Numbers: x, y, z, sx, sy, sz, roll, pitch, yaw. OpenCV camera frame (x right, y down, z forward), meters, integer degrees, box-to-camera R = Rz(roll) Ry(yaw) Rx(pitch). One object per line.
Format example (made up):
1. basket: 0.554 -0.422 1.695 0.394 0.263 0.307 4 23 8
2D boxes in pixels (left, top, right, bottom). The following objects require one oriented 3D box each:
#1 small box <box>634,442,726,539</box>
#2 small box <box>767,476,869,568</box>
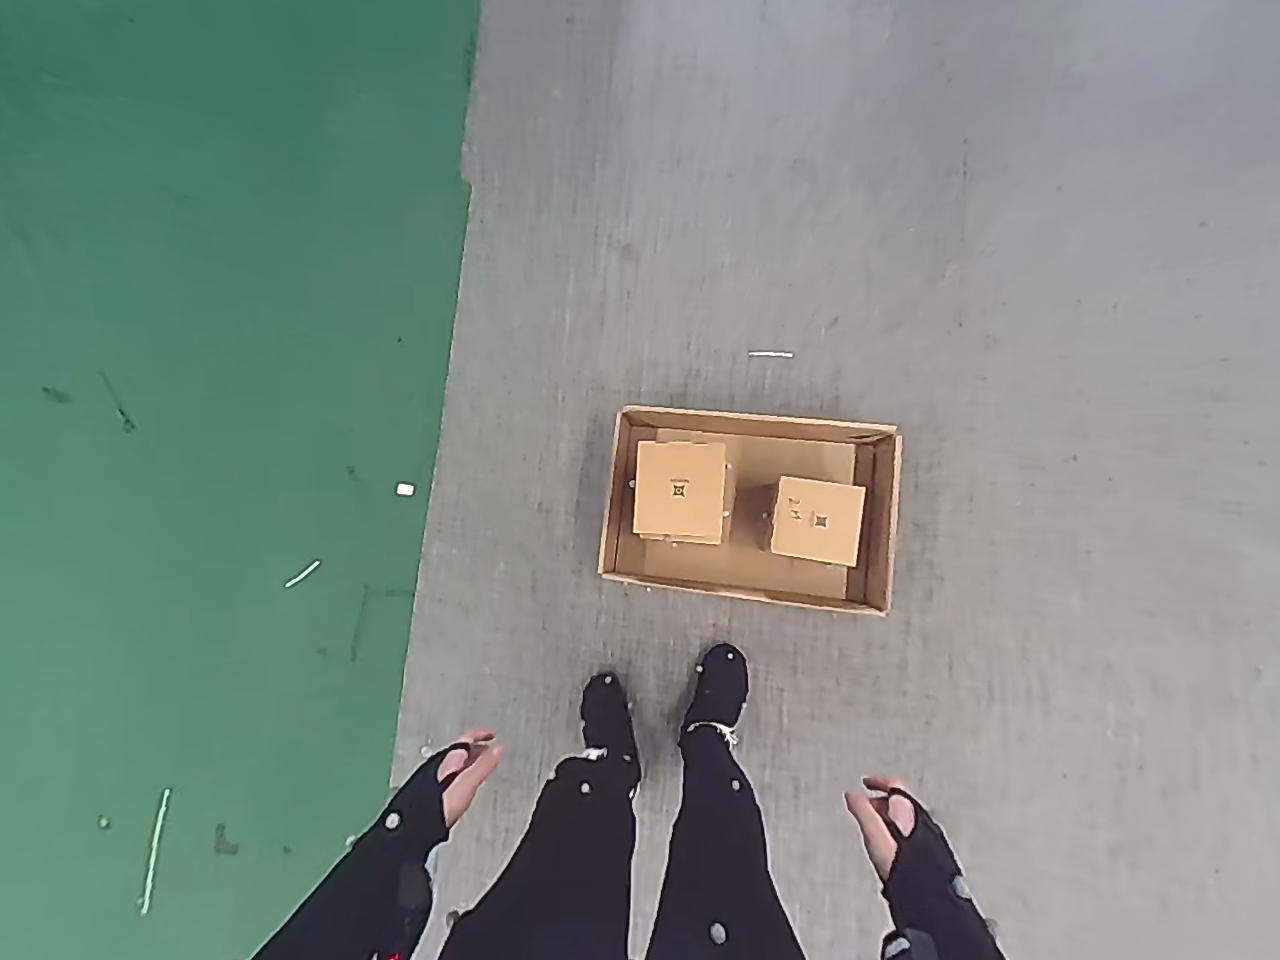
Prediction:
1. small box: 0.086 0.026 1.075 0.168 0.176 0.179 2 83 8
2. small box: 0.382 0.092 1.187 0.179 0.176 0.168 9 85 12
